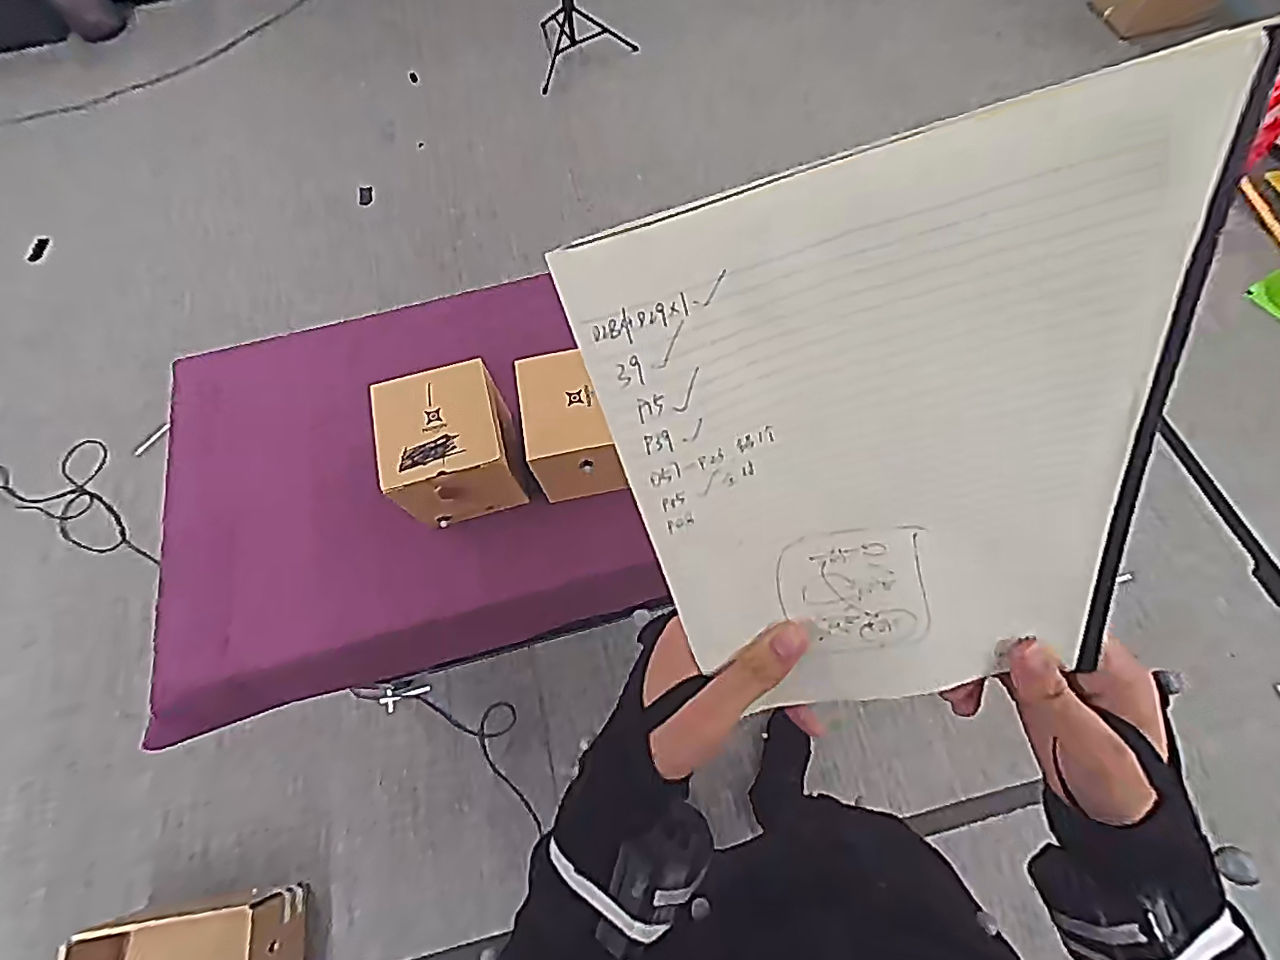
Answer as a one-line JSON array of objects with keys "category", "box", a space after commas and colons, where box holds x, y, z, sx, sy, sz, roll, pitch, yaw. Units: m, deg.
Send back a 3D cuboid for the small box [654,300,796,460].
[{"category": "small box", "box": [0.123, -0.144, 0.847, 0.168, 0.176, 0.179, -13, 67, -3]}]
